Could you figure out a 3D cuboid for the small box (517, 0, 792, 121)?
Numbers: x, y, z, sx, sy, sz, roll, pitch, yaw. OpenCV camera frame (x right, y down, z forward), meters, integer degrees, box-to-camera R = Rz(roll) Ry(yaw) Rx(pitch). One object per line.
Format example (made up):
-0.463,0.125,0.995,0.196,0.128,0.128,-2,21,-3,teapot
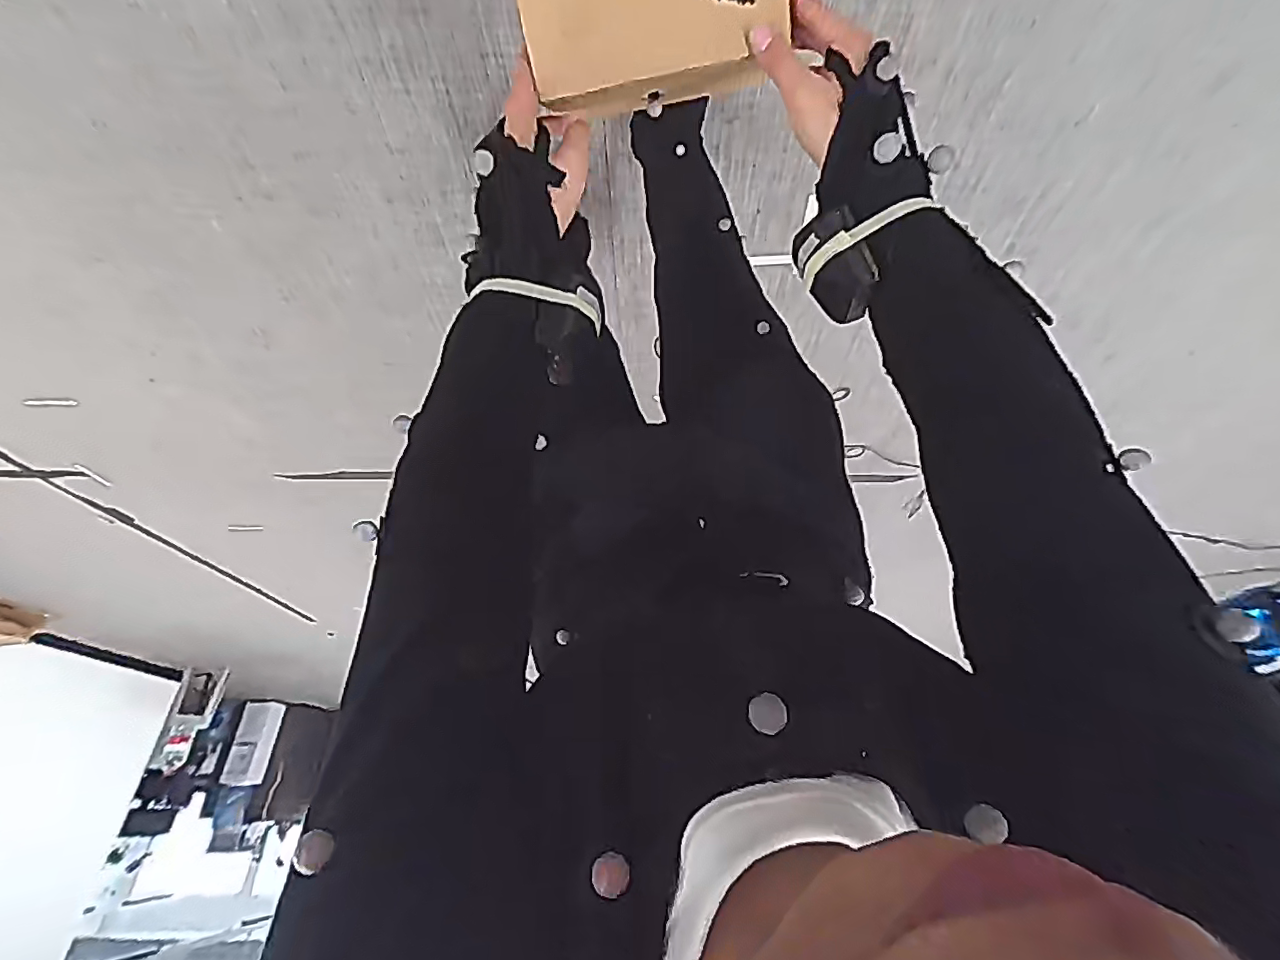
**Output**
0.005,-0.380,0.396,0.179,0.176,0.168,-7,119,8,small box
